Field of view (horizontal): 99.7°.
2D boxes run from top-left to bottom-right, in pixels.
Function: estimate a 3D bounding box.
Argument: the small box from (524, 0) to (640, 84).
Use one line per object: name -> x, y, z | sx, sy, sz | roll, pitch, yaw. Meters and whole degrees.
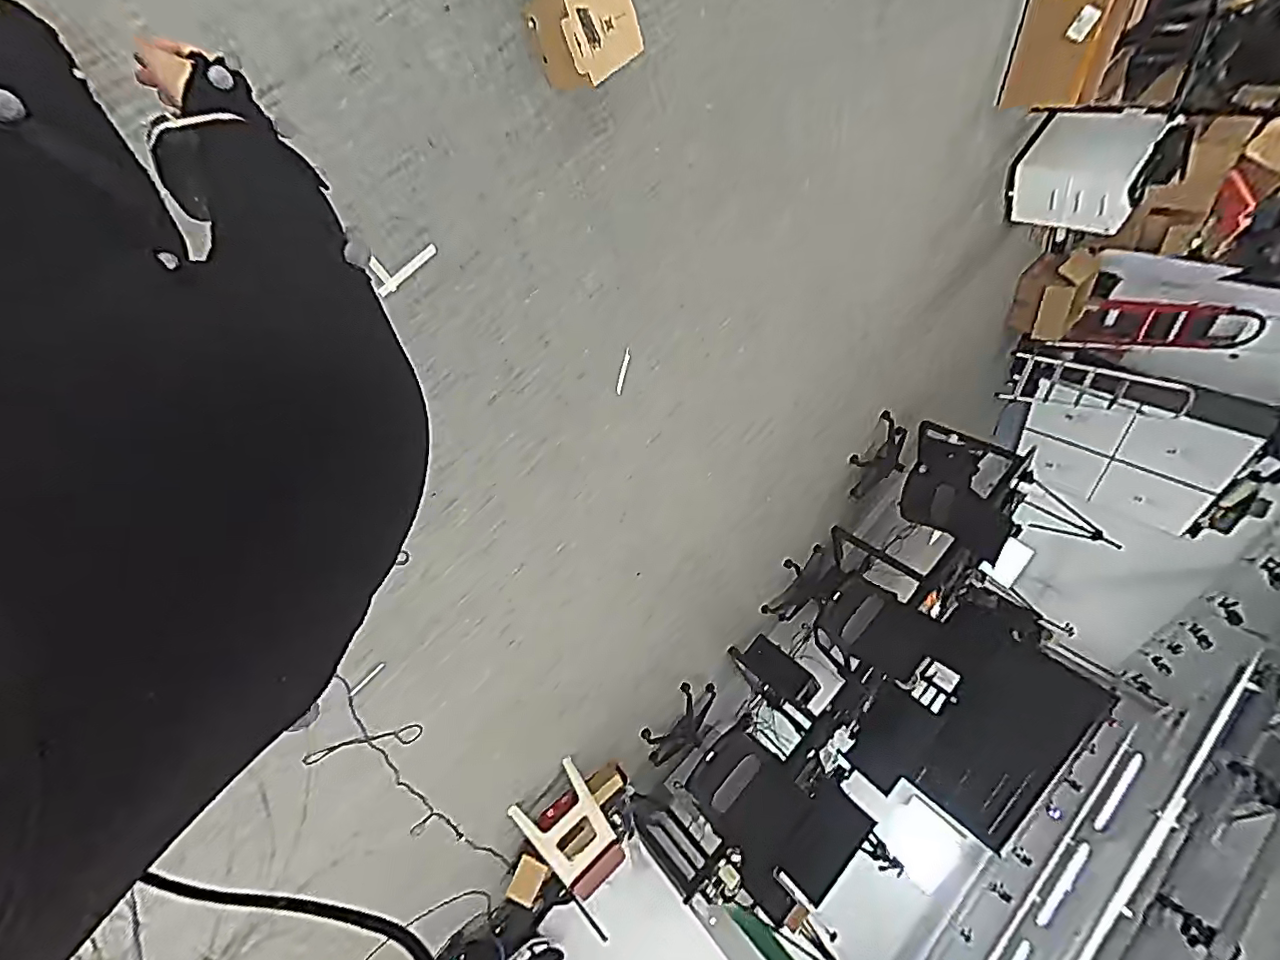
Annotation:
small box -> -0.136, -1.022, 1.215 | 0.179, 0.176, 0.168 | -46, 142, -14
